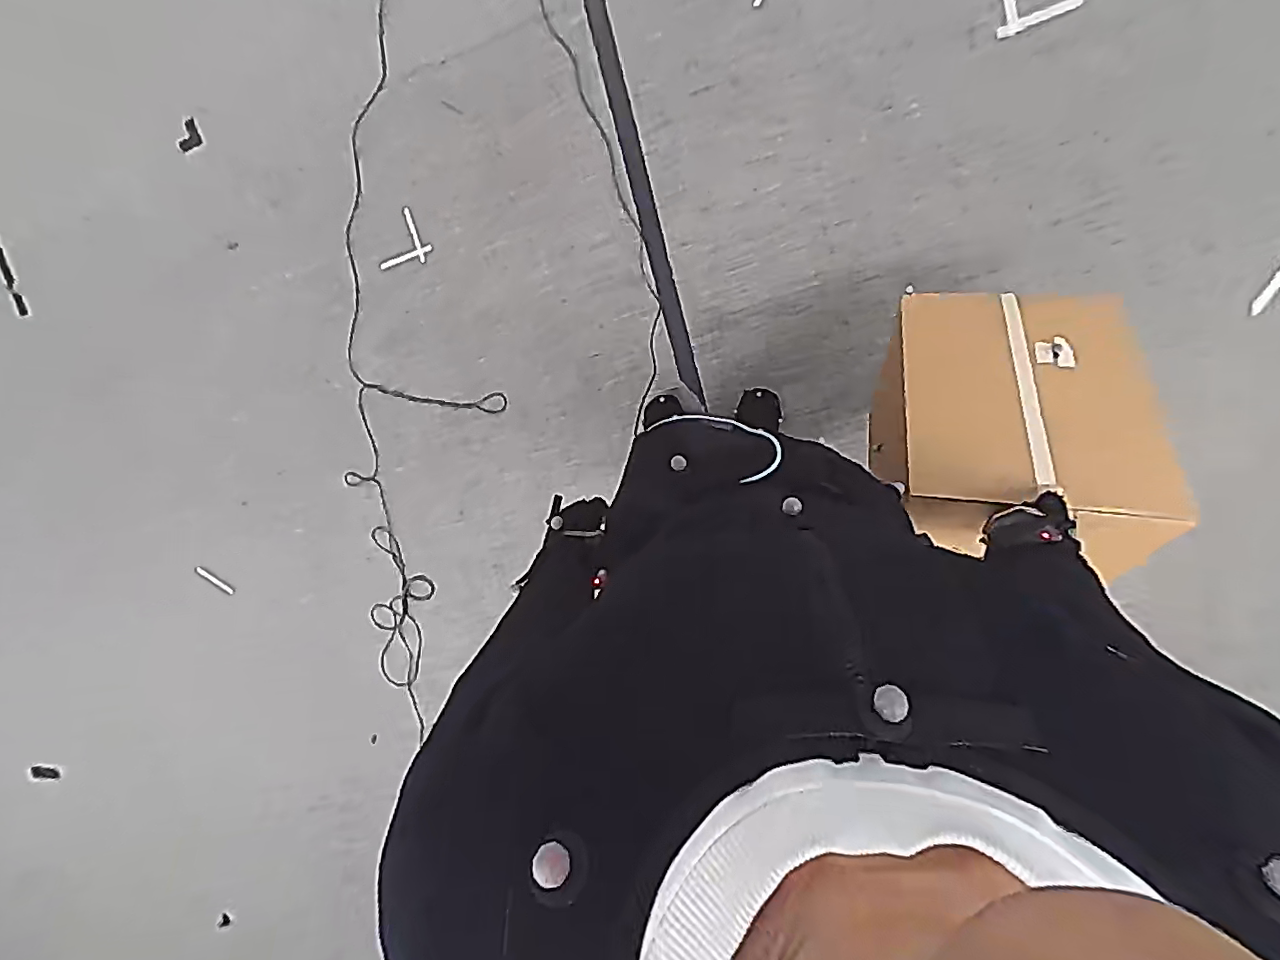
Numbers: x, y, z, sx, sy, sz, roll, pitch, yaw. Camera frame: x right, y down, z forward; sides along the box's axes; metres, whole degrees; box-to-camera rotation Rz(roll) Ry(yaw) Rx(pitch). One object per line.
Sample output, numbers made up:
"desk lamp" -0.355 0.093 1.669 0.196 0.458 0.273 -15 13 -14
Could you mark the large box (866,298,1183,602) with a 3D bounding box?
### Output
"large box" 0.572 -0.049 0.911 0.320 0.408 0.320 5 147 14
